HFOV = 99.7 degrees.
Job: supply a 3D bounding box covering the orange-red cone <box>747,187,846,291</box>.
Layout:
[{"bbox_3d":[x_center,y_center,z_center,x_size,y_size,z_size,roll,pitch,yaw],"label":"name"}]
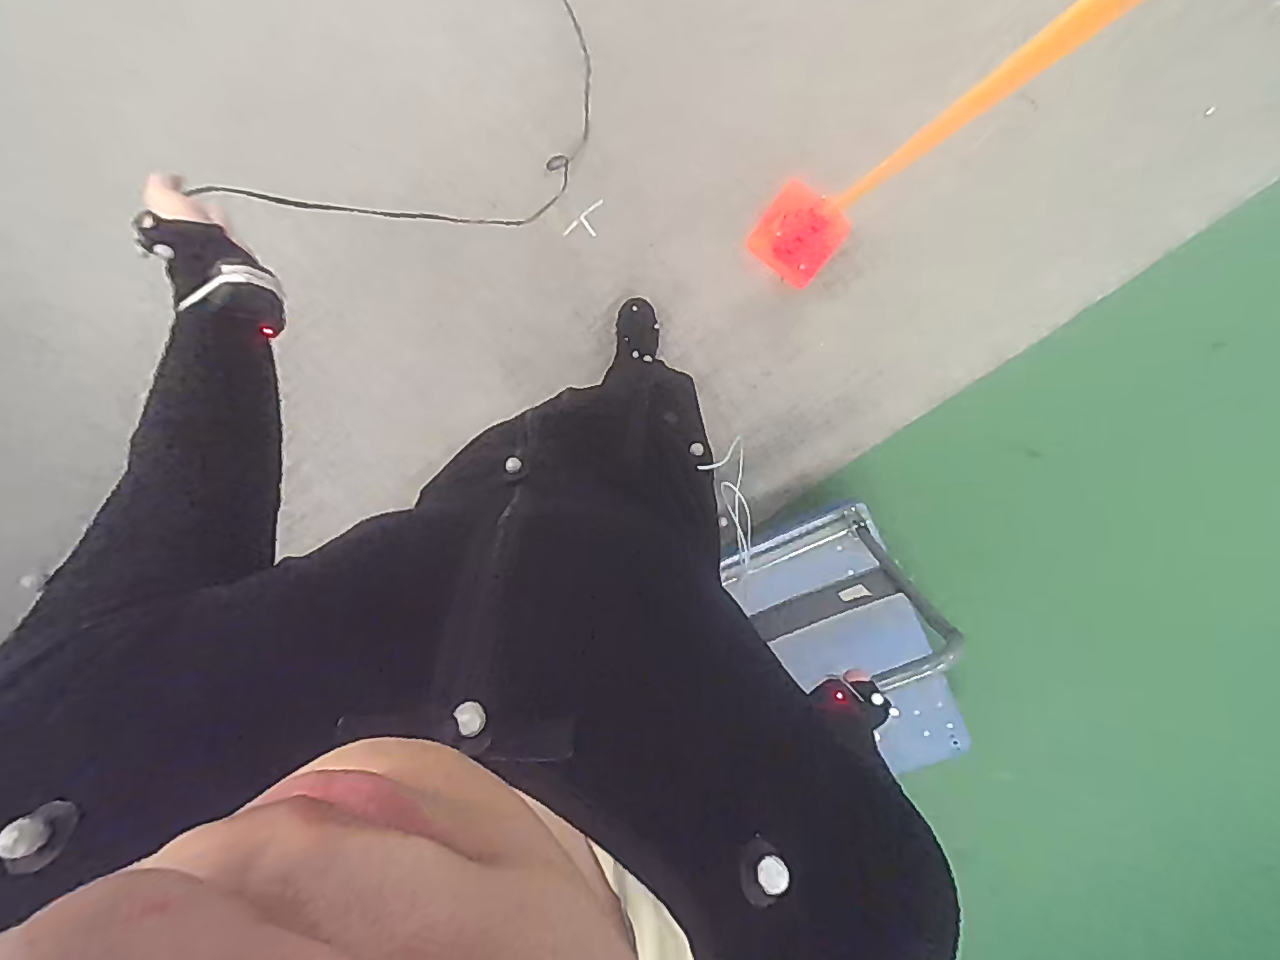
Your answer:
[{"bbox_3d":[0.395,-0.576,1.240,0.198,0.360,0.199,37,105,-7],"label":"orange-red cone"}]
